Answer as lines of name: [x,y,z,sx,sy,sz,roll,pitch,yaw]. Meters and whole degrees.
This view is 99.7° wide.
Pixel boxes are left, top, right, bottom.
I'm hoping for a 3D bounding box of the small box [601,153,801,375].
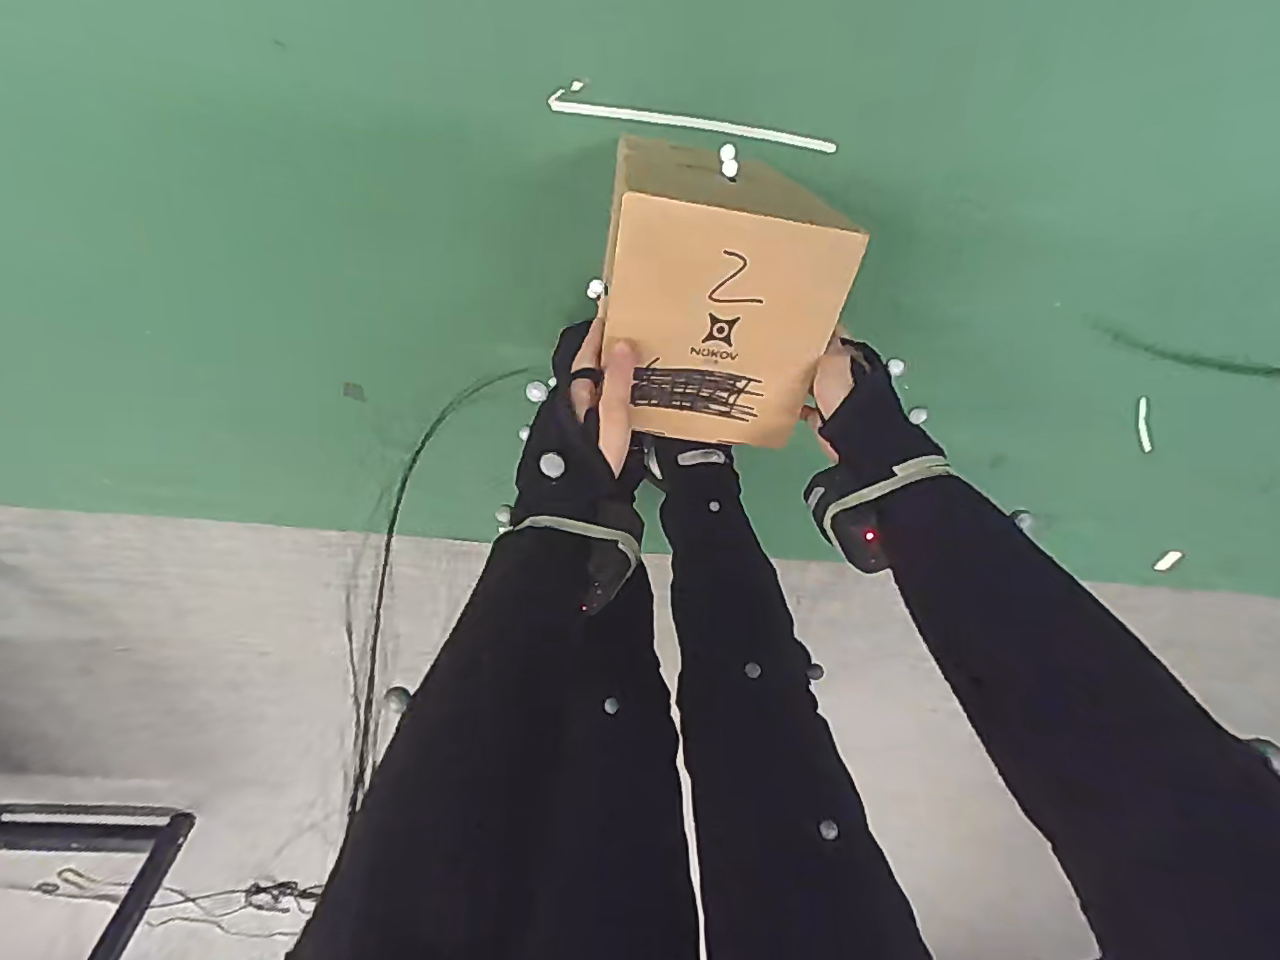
small box: [0.049,-0.240,0.591,0.168,0.176,0.179,7,127,-7]
